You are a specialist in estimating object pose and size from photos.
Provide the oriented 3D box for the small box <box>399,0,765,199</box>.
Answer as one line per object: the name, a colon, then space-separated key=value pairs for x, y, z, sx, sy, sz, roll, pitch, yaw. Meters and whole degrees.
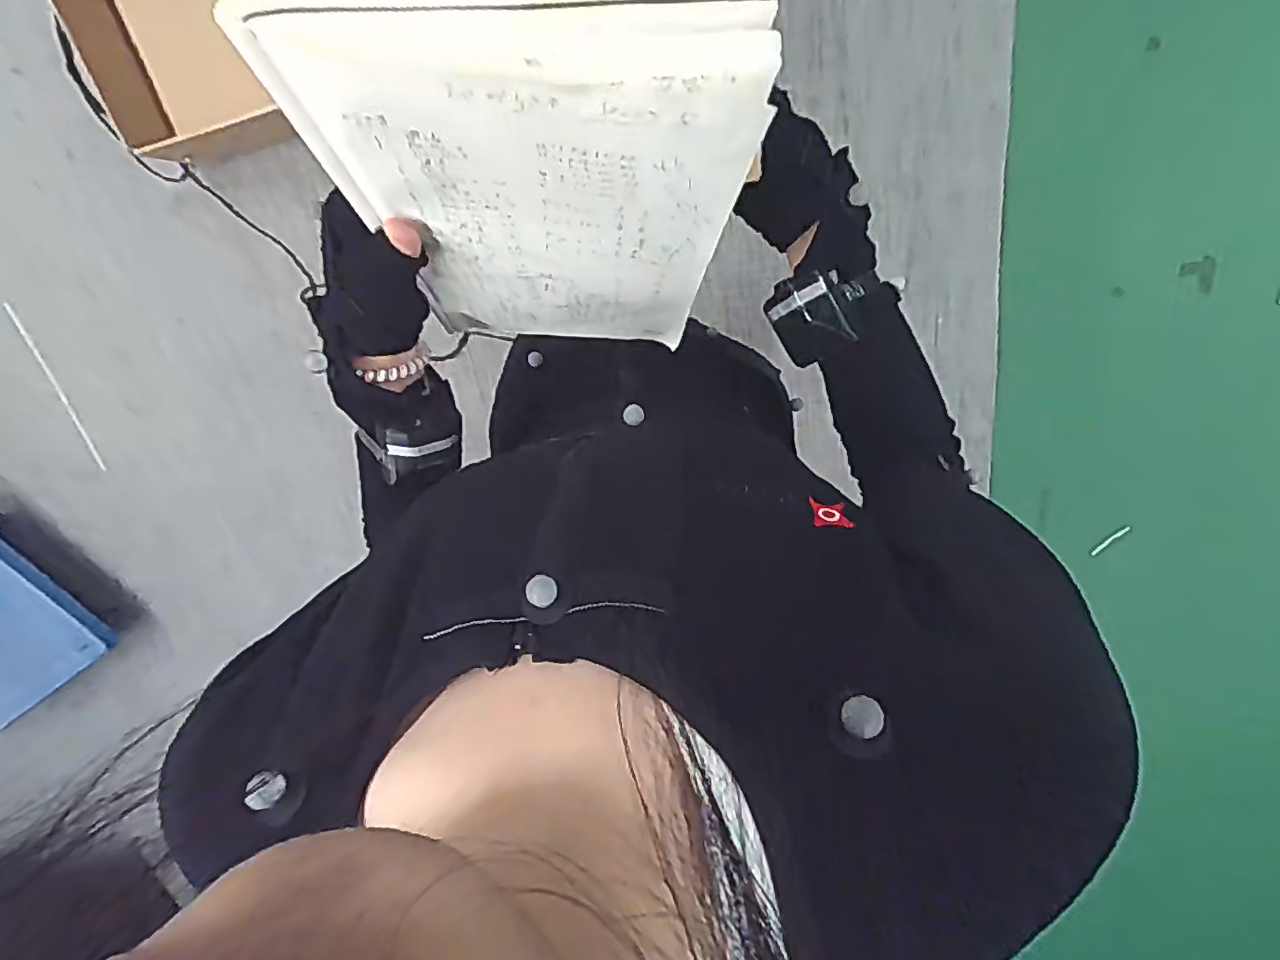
small box: x=-0.032 y=-0.273 z=0.323 sx=0.179 sy=0.176 sz=0.168 roll=-6 pitch=121 yaw=0
